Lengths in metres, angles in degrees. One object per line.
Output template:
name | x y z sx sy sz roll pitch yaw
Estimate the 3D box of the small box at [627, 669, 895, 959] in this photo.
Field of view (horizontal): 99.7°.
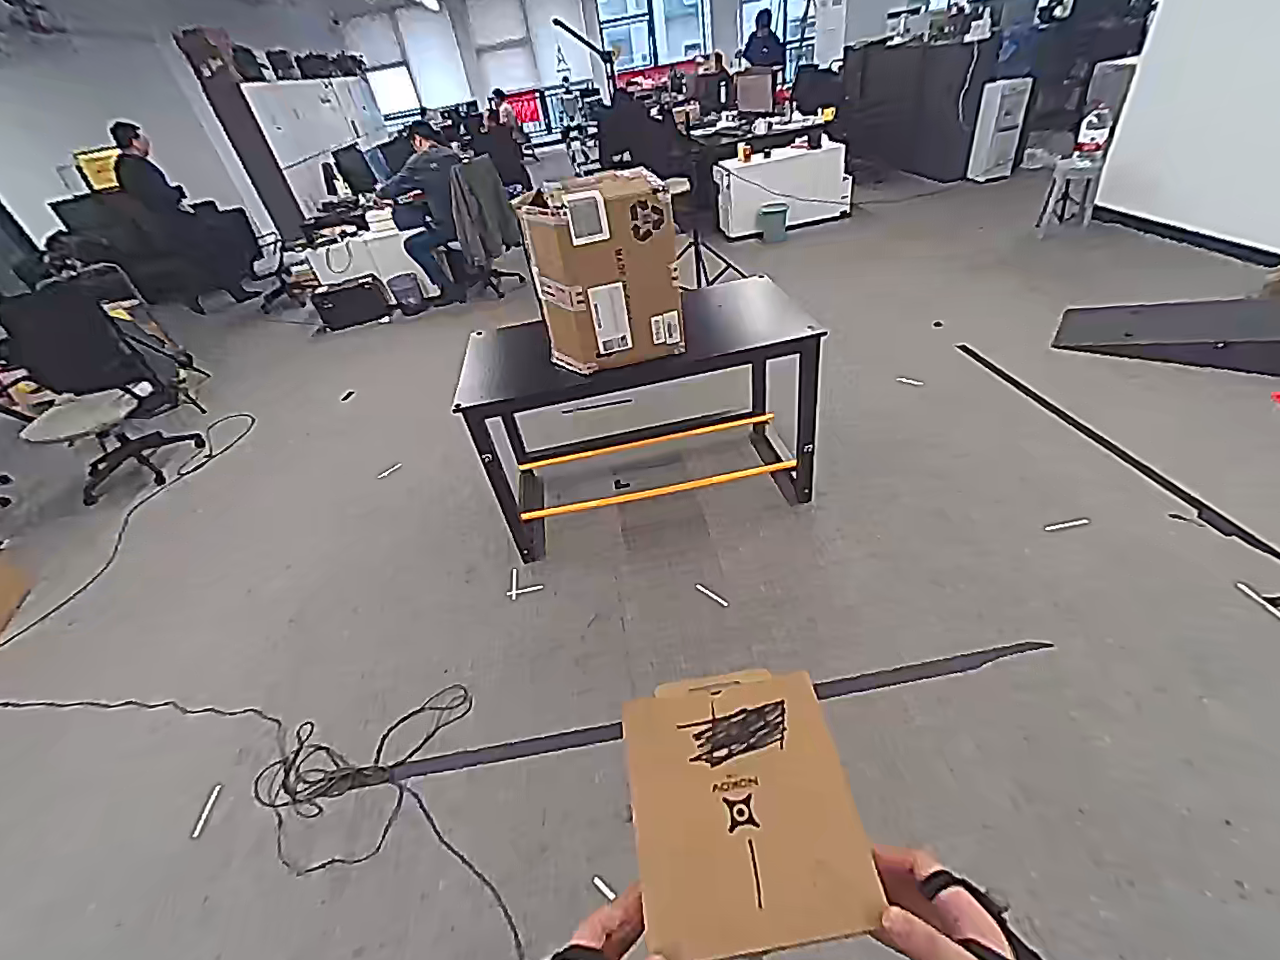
small box | 0.085 0.292 0.468 0.168 0.176 0.179 -10 48 -1
